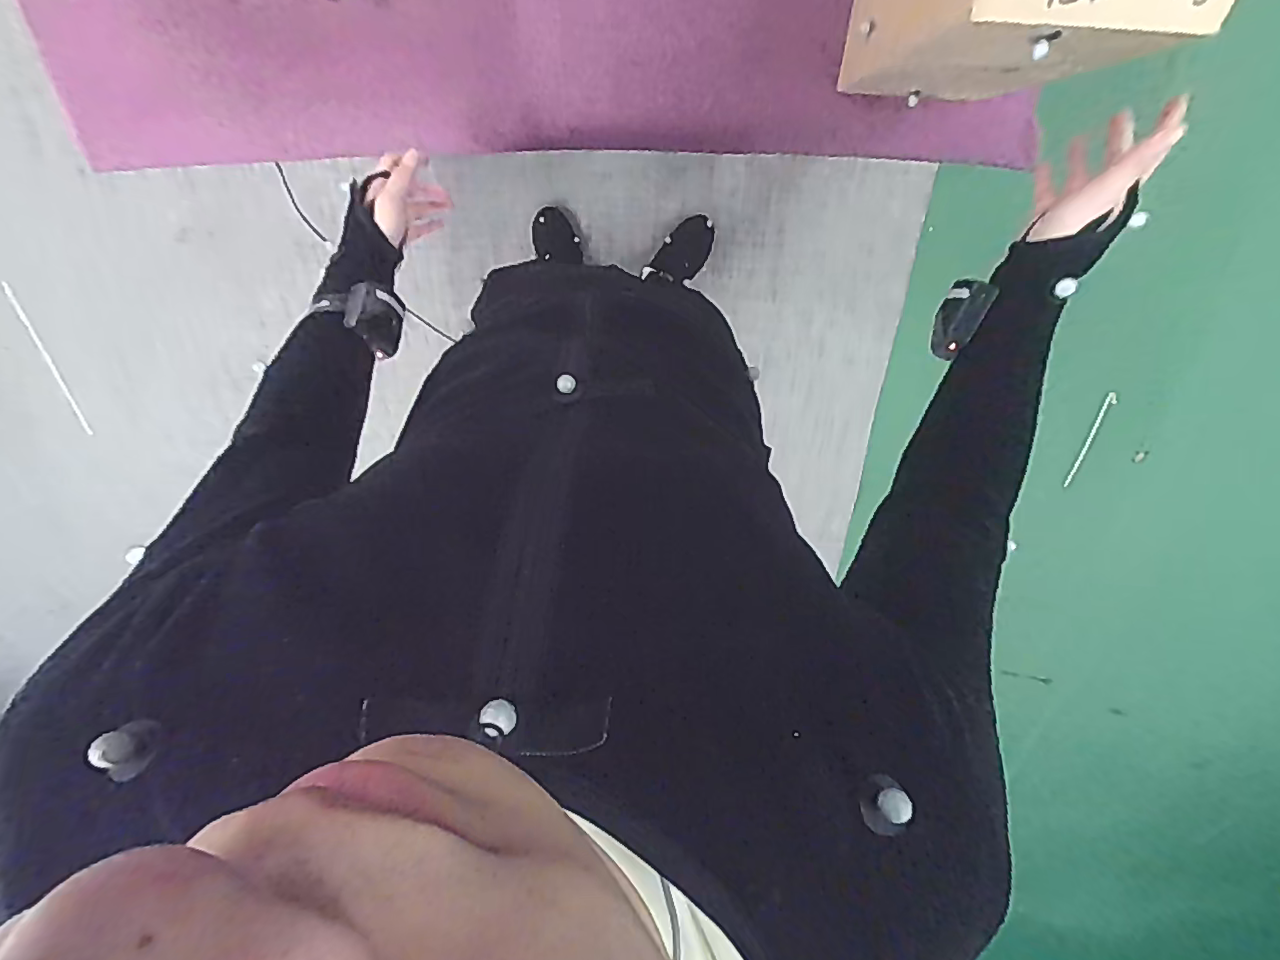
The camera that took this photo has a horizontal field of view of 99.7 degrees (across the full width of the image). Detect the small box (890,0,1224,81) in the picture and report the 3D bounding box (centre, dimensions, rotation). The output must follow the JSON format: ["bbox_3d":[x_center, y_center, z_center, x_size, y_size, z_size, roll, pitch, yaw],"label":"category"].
[{"bbox_3d":[0.306,-0.415,0.390,0.168,0.176,0.179,5,119,1],"label":"small box"}]
